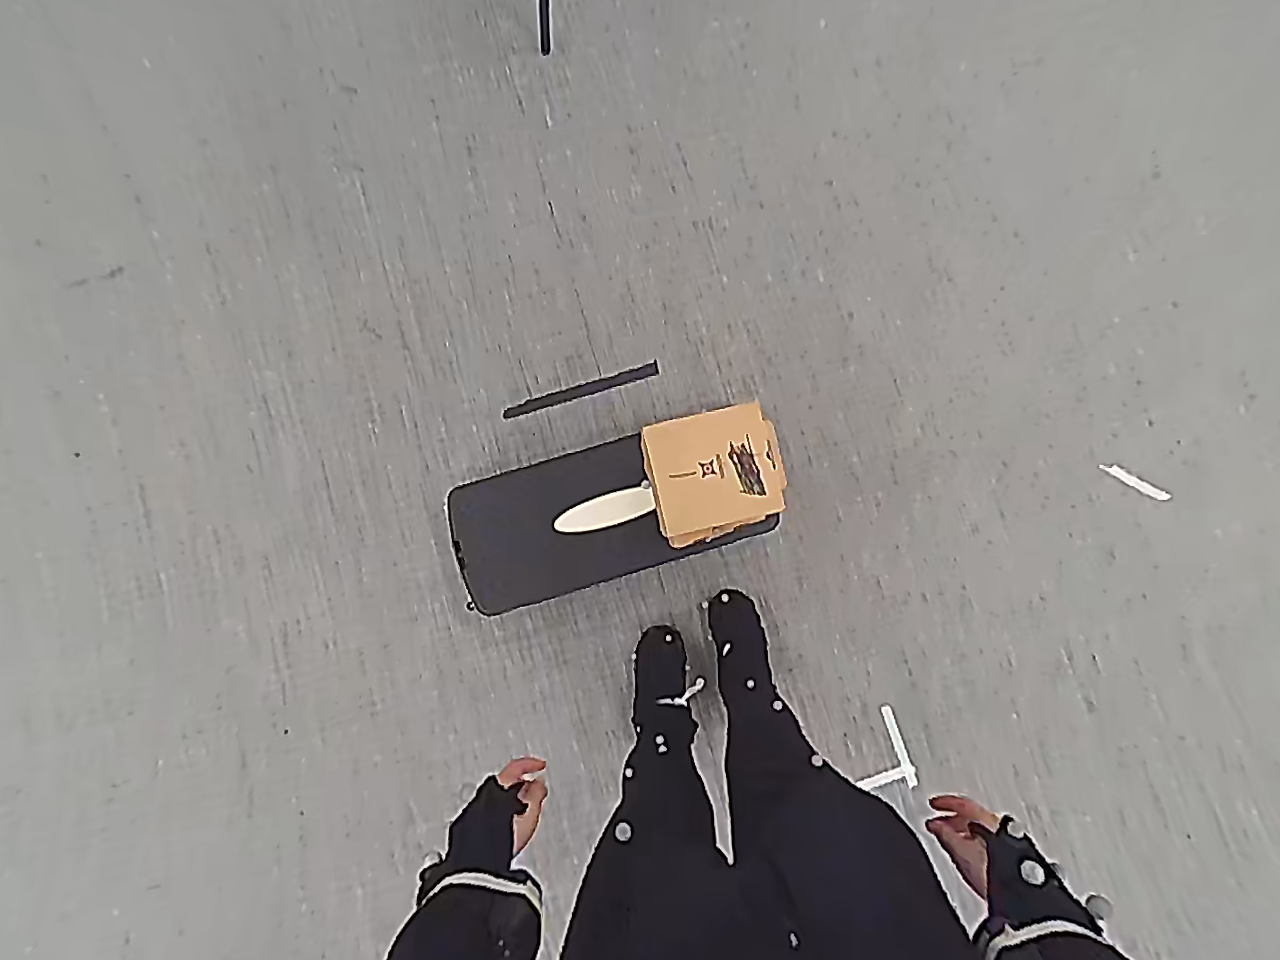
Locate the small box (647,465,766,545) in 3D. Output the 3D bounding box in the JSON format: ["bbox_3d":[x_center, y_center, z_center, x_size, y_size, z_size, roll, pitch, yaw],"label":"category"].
[{"bbox_3d":[0.115,0.014,1.014,0.168,0.176,0.179,-18,86,-2],"label":"small box"}]

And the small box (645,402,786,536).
[{"bbox_3d":[0.108,-0.012,0.851,0.179,0.176,0.168,-13,86,-1],"label":"small box"}]
